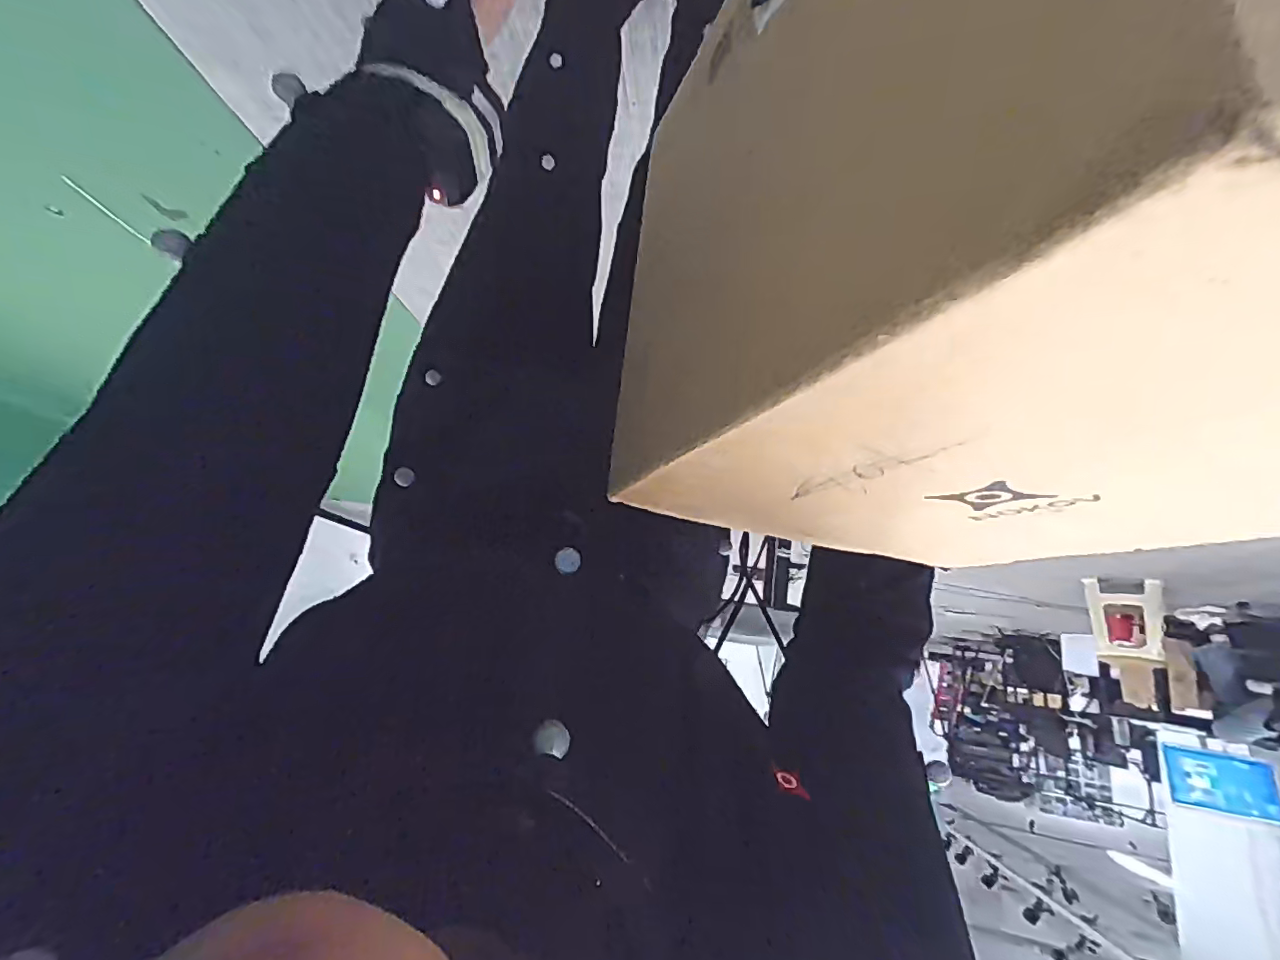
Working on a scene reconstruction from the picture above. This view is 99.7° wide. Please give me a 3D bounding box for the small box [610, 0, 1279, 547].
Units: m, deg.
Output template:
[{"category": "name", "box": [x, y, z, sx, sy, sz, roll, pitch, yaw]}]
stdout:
[{"category": "small box", "box": [0.107, -0.082, 0.178, 0.179, 0.176, 0.168, 13, 161, -20]}]
